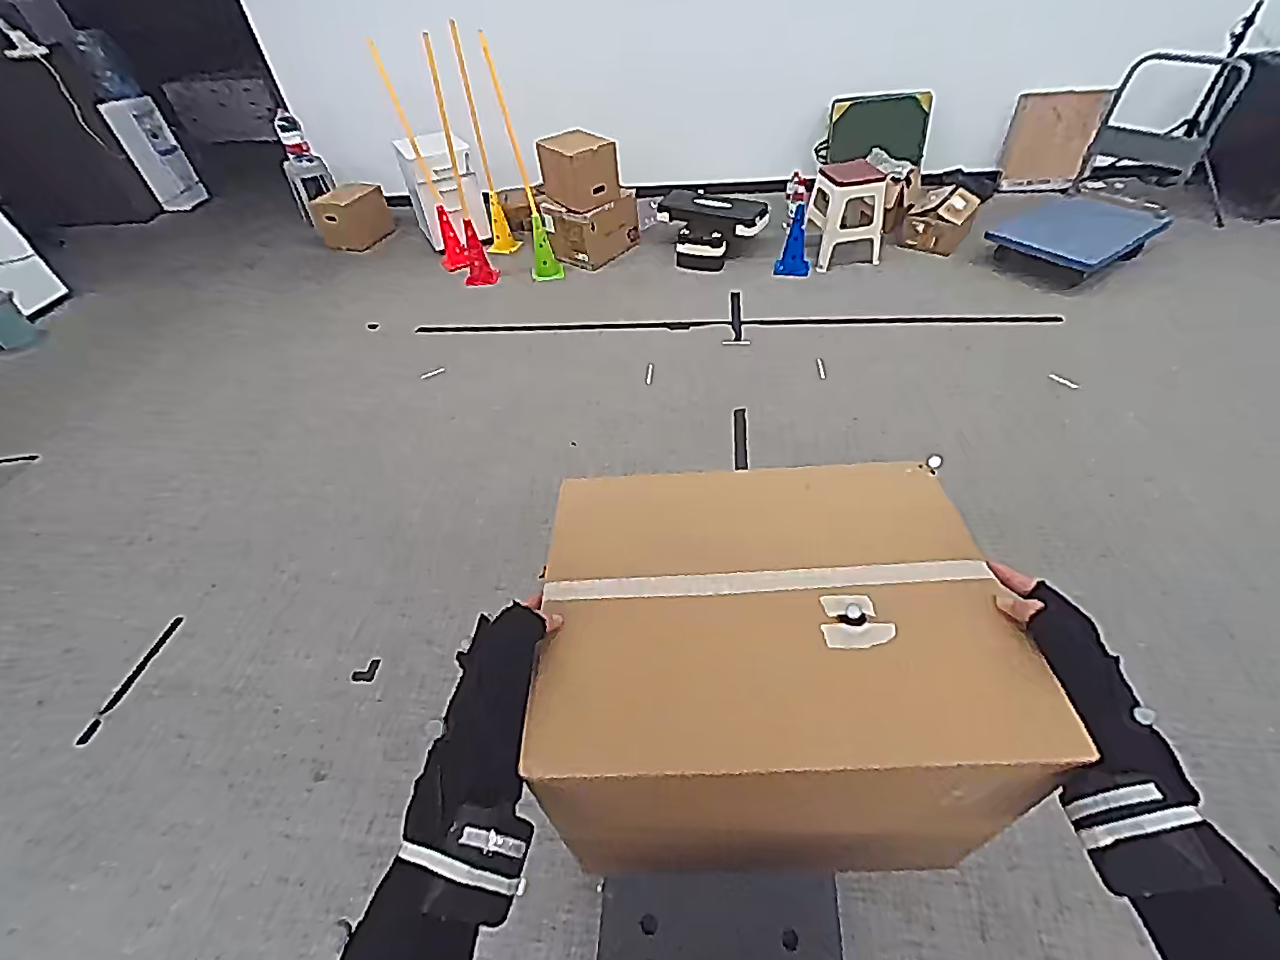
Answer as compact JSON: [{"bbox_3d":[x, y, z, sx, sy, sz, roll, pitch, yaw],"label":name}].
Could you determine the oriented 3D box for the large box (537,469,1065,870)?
[{"bbox_3d":[0.124,0.212,0.610,0.408,0.320,0.320,-3,43,3],"label":"large box"}]
